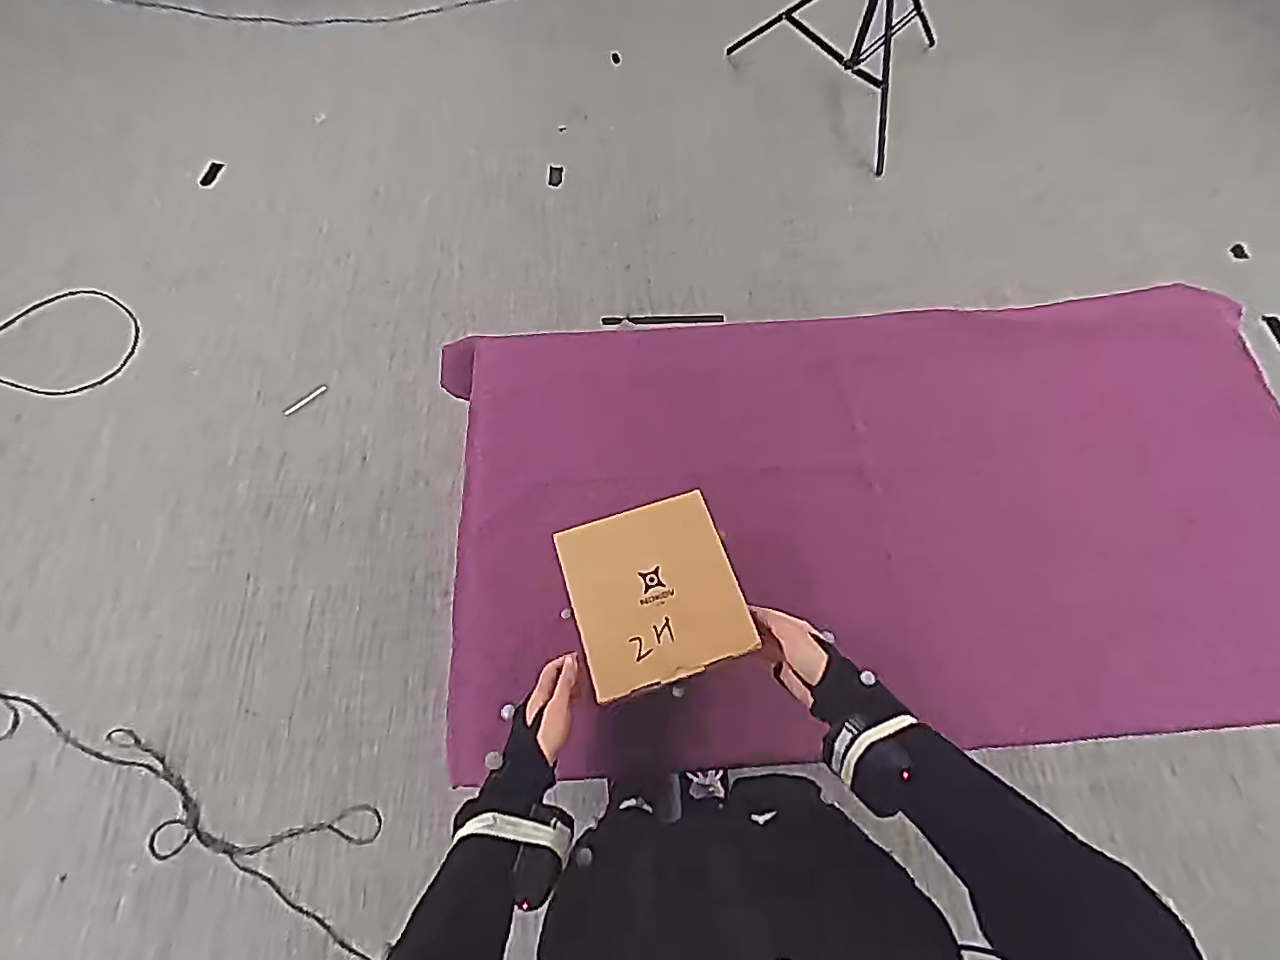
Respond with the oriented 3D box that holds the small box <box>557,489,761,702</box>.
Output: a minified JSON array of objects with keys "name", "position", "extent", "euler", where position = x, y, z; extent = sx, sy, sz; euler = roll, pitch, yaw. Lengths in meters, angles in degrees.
[{"name":"small box","position":[0.014,0.138,0.614],"extent":[0.168,0.176,0.179],"euler":[-17,67,-7]}]
